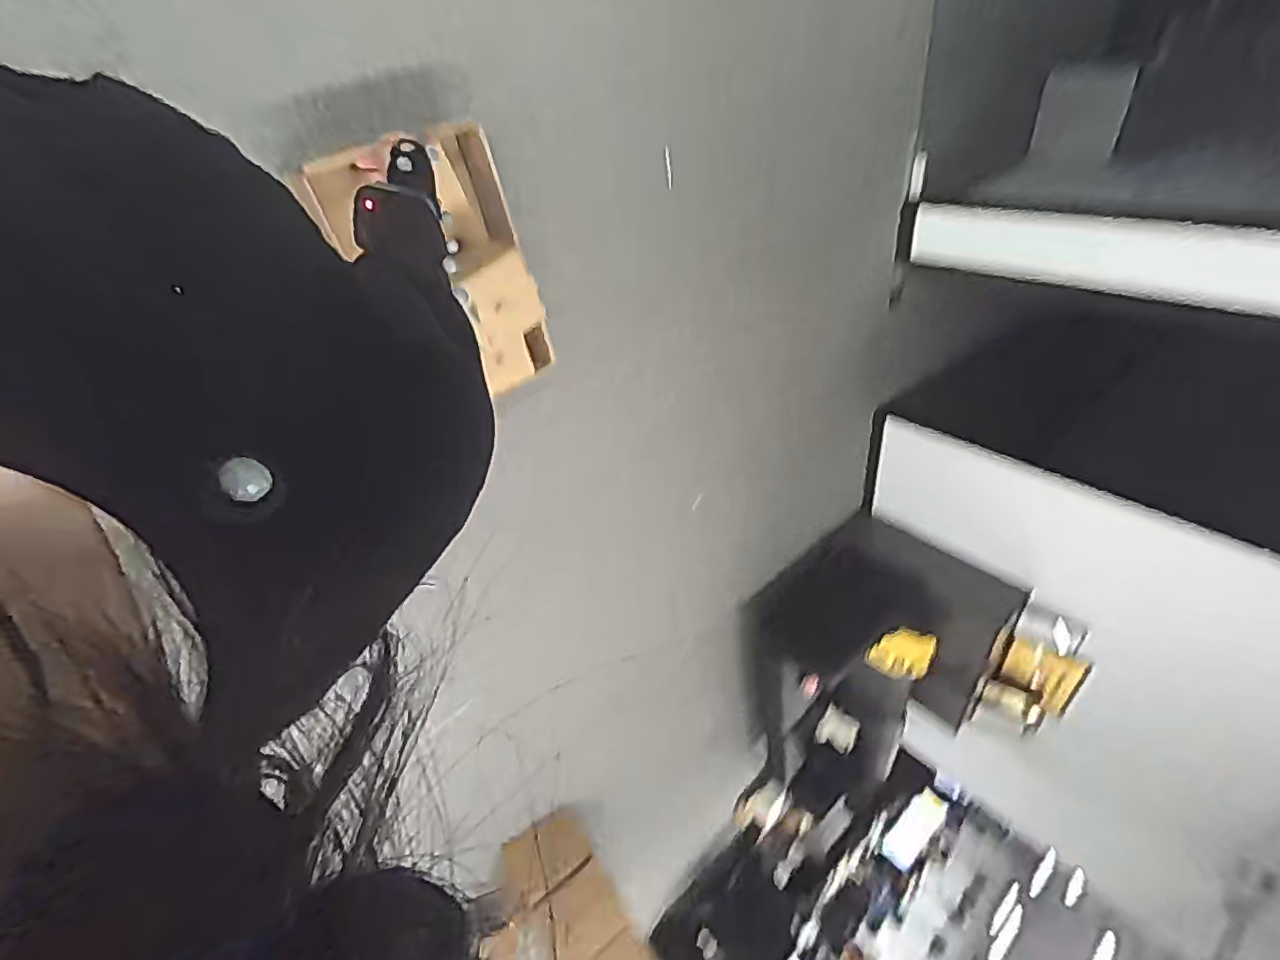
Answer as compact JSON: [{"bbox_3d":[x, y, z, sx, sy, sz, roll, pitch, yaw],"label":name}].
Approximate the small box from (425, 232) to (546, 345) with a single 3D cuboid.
[{"bbox_3d":[-0.352,-0.441,1.230,0.179,0.176,0.168,-40,136,-16],"label":"small box"}]
